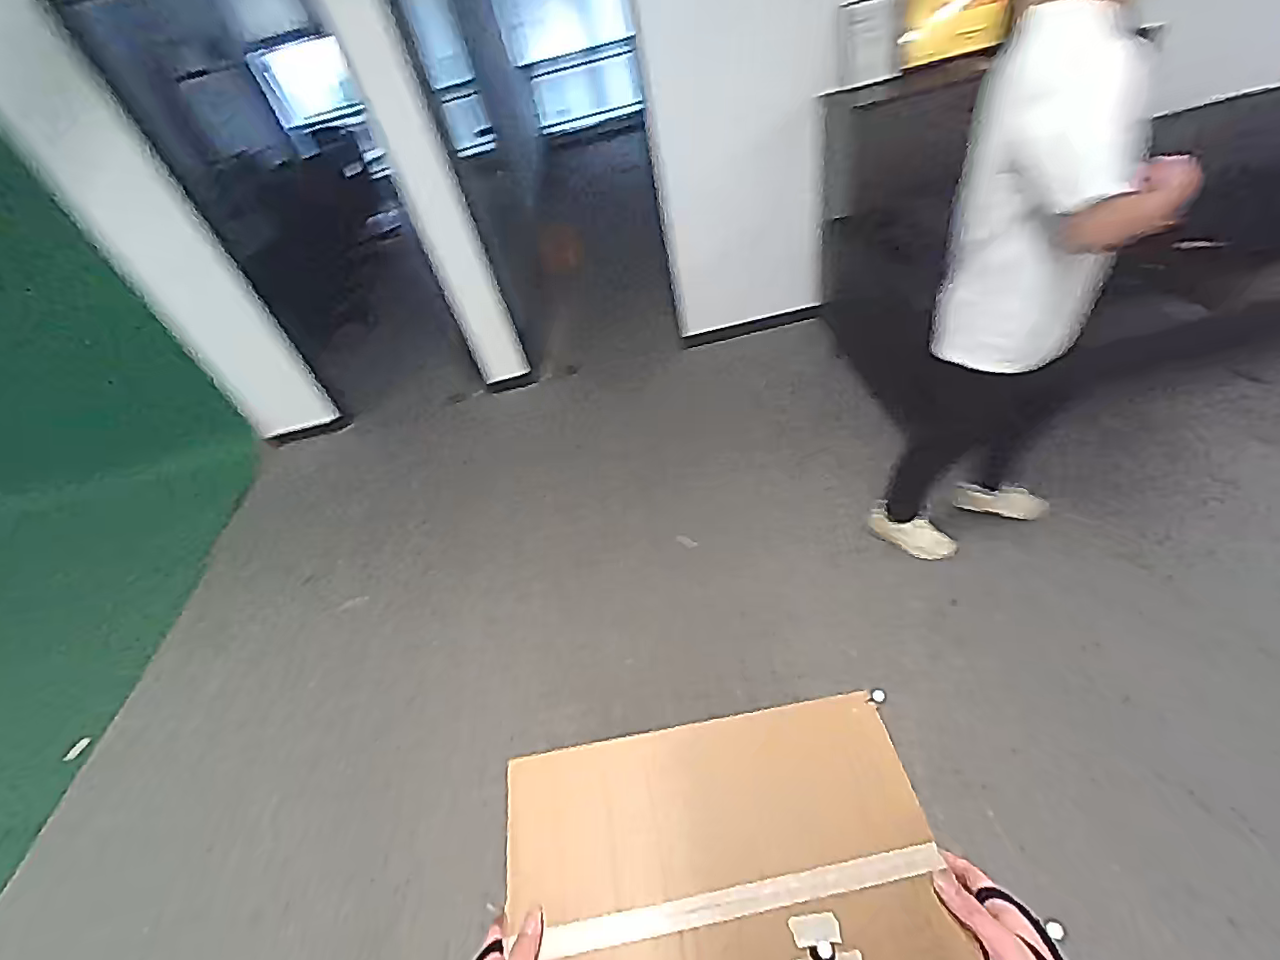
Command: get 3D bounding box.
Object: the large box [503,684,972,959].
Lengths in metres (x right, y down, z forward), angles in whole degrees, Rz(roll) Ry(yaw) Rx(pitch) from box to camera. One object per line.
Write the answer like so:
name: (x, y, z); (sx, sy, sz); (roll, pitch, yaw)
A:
large box: (0.080, 0.481, 0.617); (0.408, 0.320, 0.320); (-10, 50, -6)
